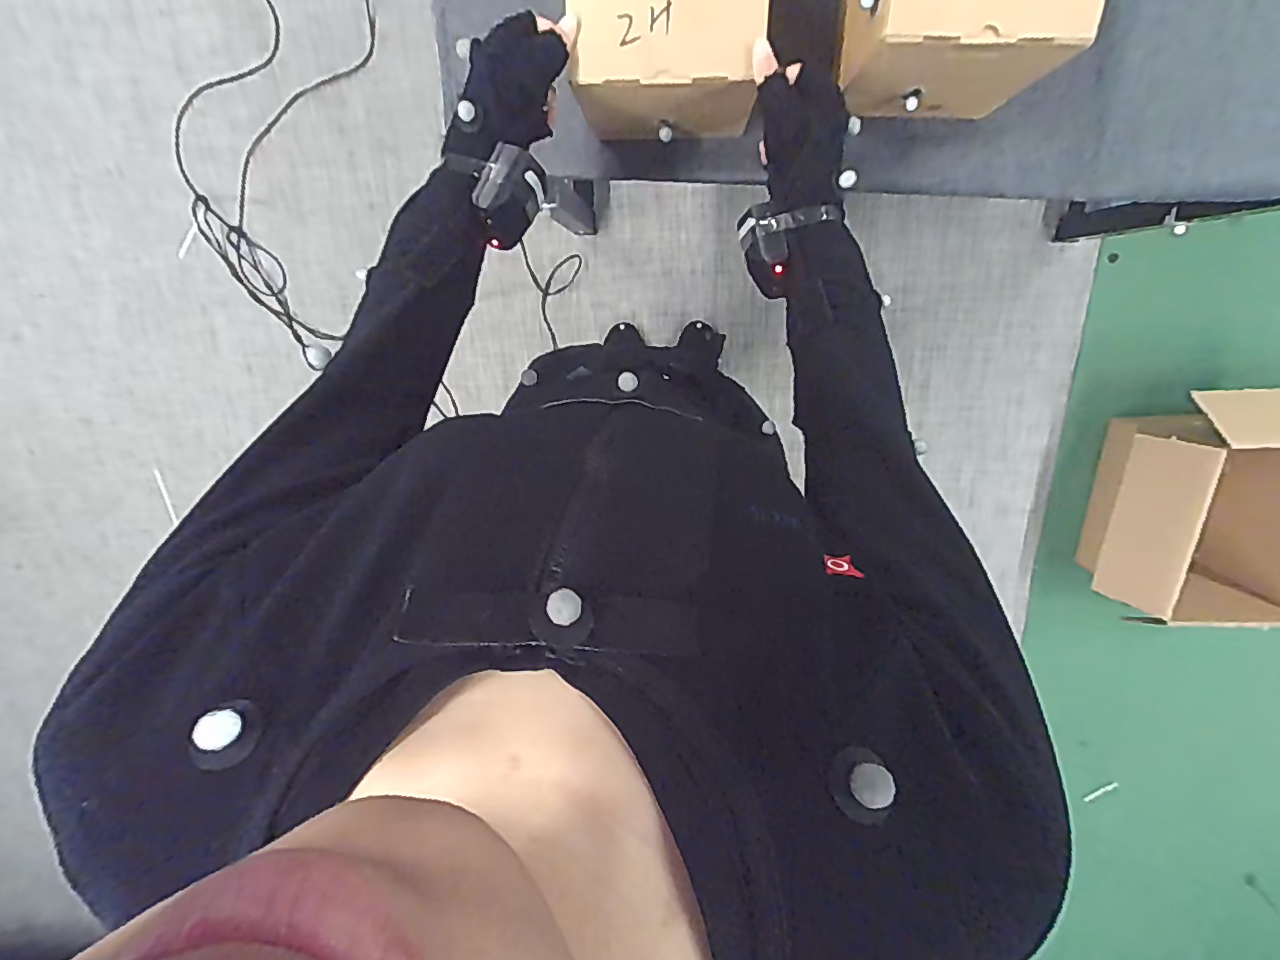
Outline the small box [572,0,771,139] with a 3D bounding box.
[{"bbox_3d":[0.030,-0.444,0.507,0.168,0.176,0.179,1,109,4],"label":"small box"}]
